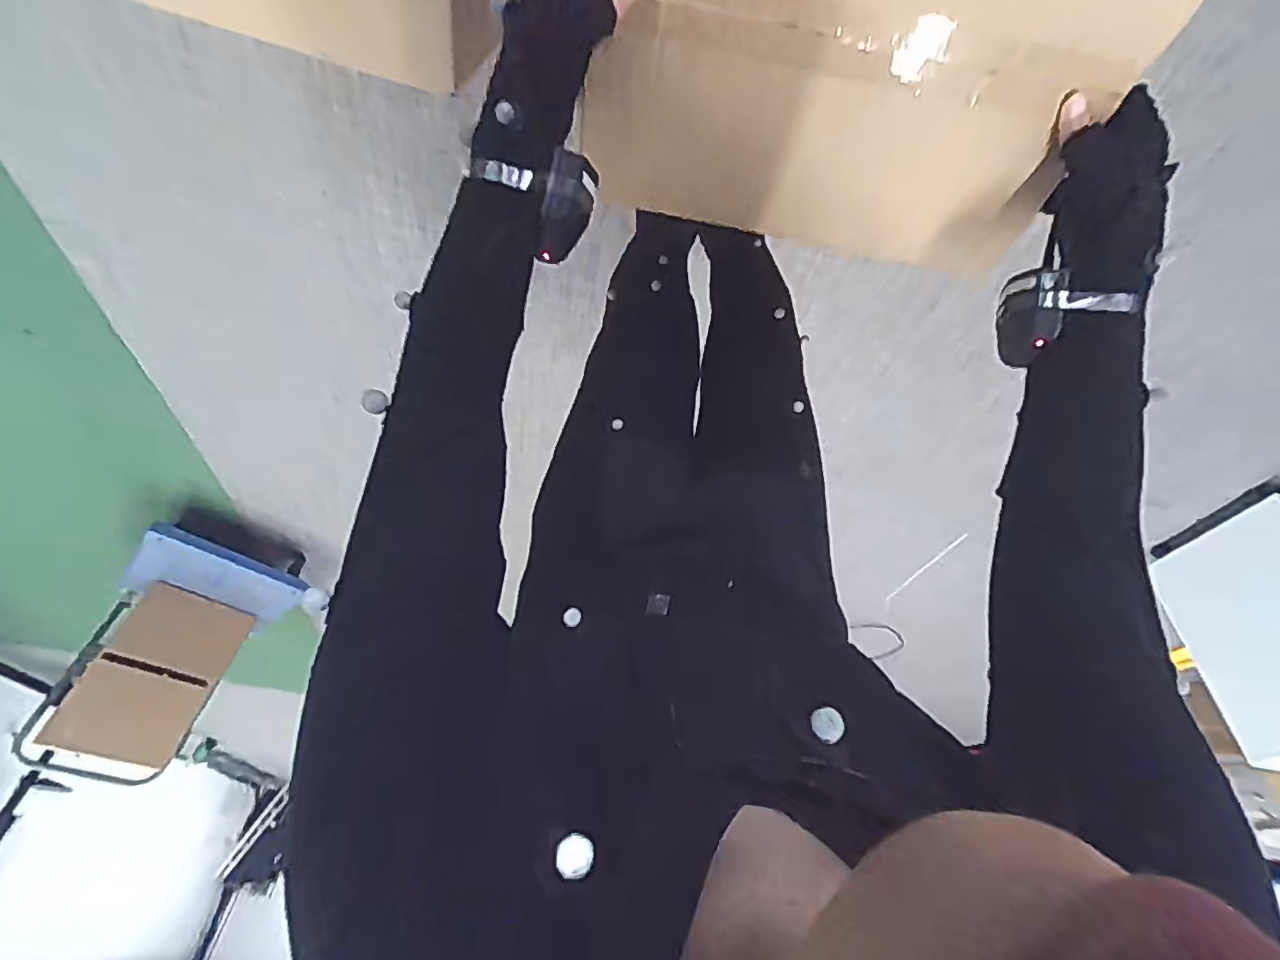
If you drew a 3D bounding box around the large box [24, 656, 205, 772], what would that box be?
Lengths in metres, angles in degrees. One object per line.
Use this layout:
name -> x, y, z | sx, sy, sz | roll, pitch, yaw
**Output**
large box -> -2.038, 0.927, 2.131 | 0.408, 0.320, 0.320 | 35, 138, -28
